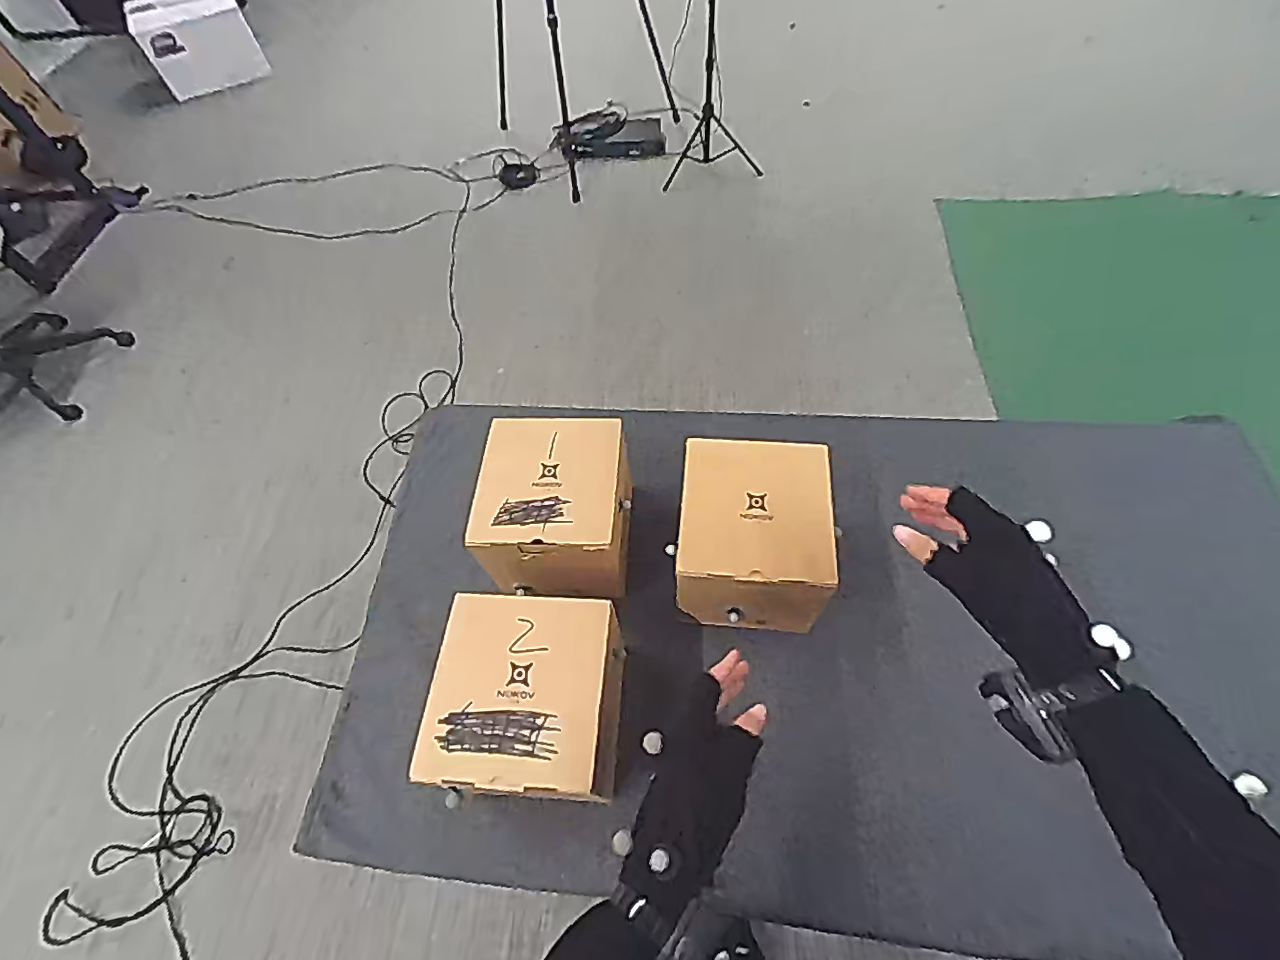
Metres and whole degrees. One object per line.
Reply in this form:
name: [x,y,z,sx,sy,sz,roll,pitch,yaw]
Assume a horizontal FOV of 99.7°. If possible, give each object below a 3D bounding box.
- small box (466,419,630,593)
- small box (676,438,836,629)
small box: [-0.103,0.040,0.702,0.168,0.176,0.179,1,59,4]
small box: [0.133,0.070,0.668,0.168,0.176,0.179,3,60,6]
